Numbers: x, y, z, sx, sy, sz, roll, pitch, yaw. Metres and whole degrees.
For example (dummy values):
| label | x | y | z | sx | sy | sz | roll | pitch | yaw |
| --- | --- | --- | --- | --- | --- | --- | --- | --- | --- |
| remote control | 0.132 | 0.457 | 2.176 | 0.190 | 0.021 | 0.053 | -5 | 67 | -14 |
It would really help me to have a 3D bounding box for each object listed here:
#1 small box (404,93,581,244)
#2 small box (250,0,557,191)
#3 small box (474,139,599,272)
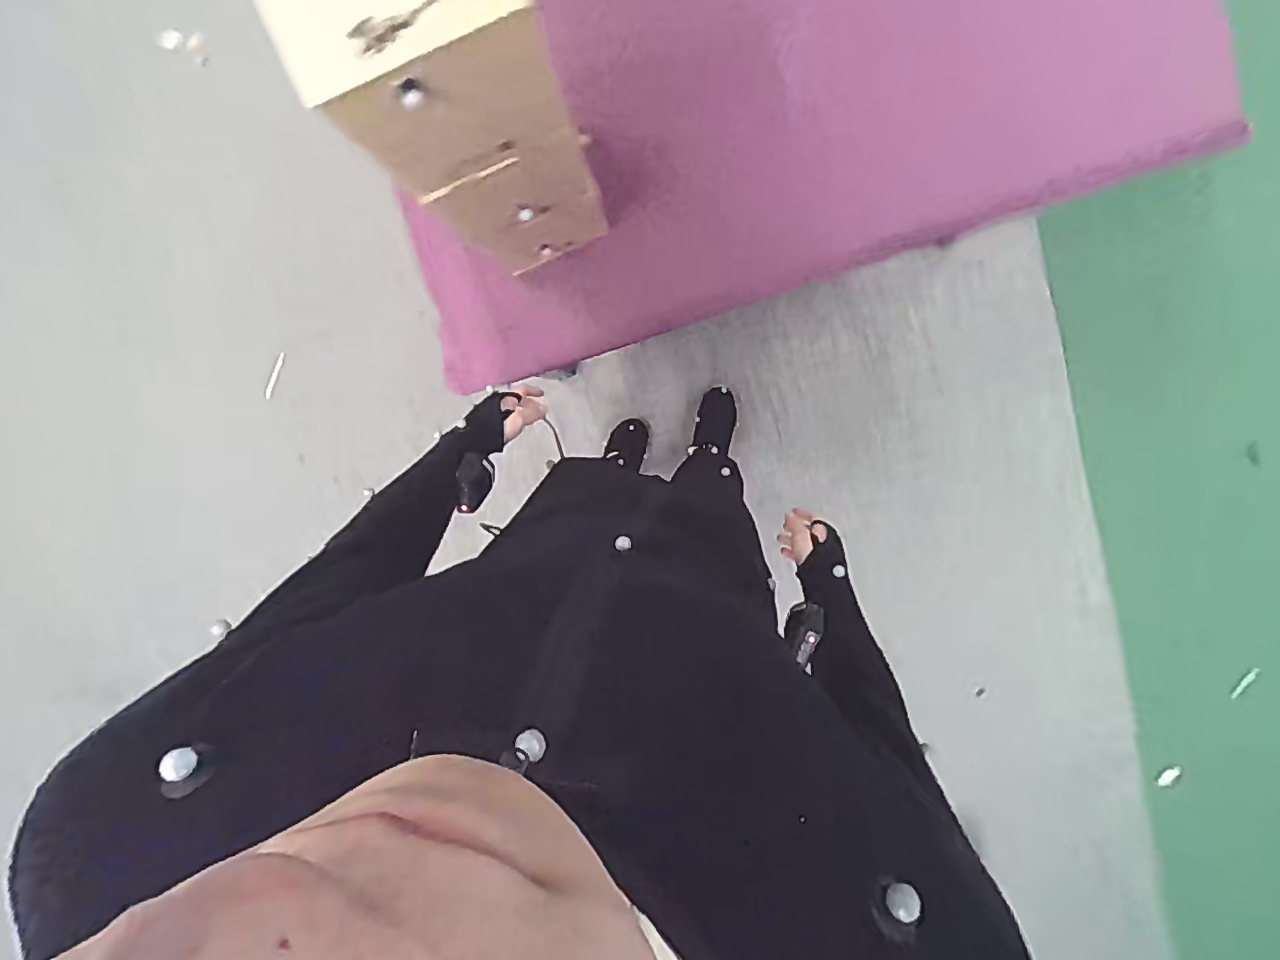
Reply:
| label | x | y | z | sx | sy | sz | roll | pitch | yaw |
| --- | --- | --- | --- | --- | --- | --- | --- | --- | --- |
| small box | -0.177 | -0.389 | 0.581 | 0.168 | 0.176 | 0.179 | -24 | 98 | 5 |
| small box | -0.181 | -0.367 | 0.418 | 0.168 | 0.176 | 0.179 | -22 | 97 | 5 |
| small box | -0.168 | -0.416 | 0.743 | 0.168 | 0.176 | 0.179 | -24 | 98 | 4 |
